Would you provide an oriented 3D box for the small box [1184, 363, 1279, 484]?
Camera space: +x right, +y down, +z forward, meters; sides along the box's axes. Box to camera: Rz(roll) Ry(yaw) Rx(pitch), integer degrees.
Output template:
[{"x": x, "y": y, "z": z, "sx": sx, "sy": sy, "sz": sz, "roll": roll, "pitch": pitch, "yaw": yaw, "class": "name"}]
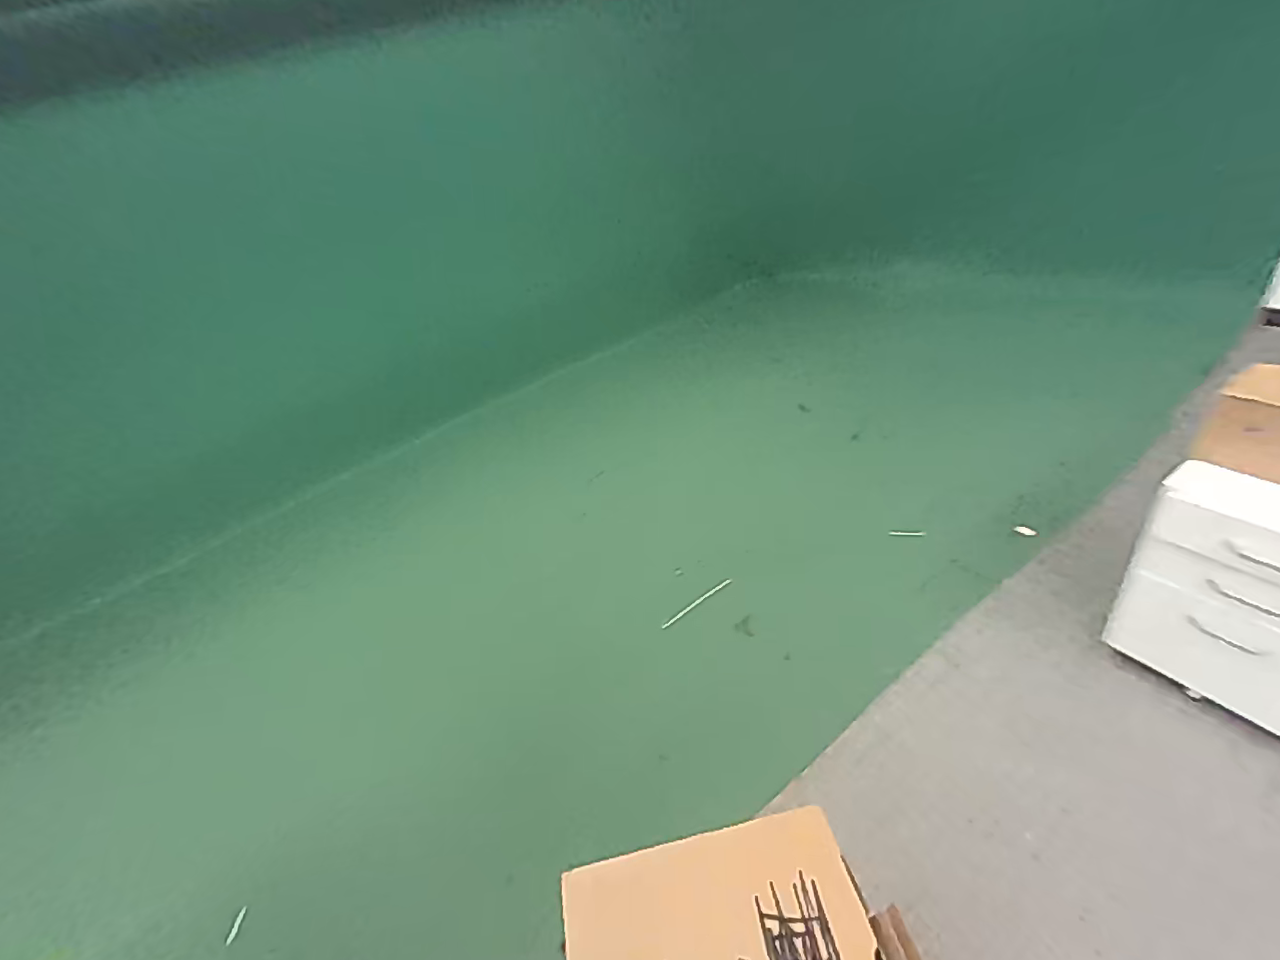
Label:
[{"x": 1.300, "y": -0.117, "z": 1.126, "sx": 0.168, "sy": 0.176, "sz": 0.179, "roll": -30, "pitch": 38, "yaw": -18, "class": "small box"}]
